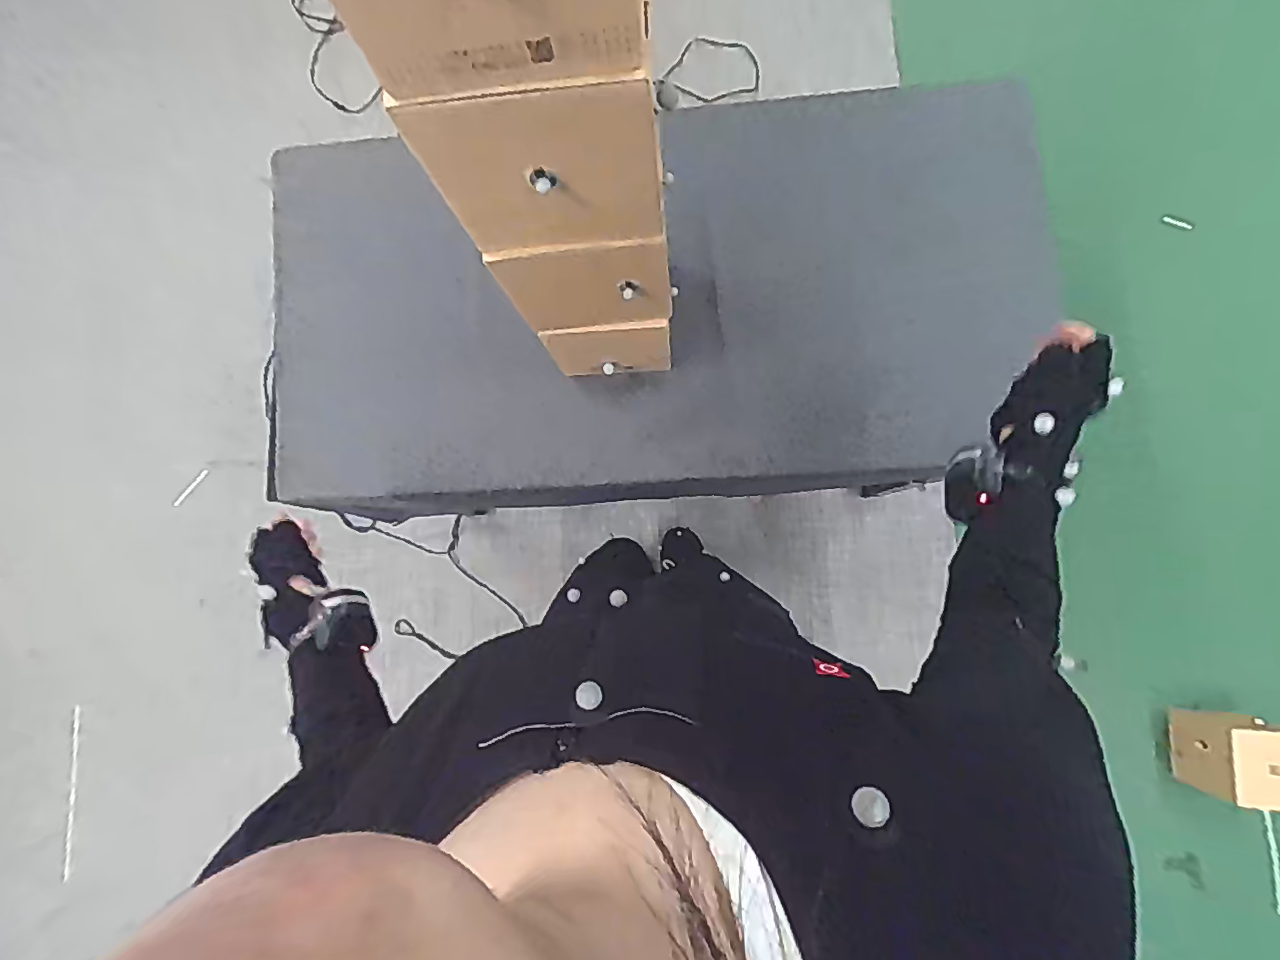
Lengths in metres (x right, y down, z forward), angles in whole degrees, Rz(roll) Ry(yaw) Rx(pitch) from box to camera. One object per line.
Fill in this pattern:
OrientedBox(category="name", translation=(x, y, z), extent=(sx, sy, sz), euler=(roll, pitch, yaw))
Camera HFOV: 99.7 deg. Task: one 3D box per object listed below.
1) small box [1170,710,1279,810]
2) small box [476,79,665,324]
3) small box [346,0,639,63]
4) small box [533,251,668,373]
OrientedBox(category="small box", translation=(1.392, 0.645, 1.259), extent=(0.179, 0.176, 0.168), euler=(2, 83, 4))
OrientedBox(category="small box", translation=(-0.064, -0.286, 0.589), extent=(0.179, 0.176, 0.168), euler=(-5, 81, 4))
OrientedBox(category="small box", translation=(-0.092, -0.351, 0.270), extent=(0.168, 0.176, 0.179), euler=(-4, 82, 4))
OrientedBox(category="small box", translation=(-0.047, -0.261, 0.749), extent=(0.168, 0.176, 0.179), euler=(-2, 83, 4))
